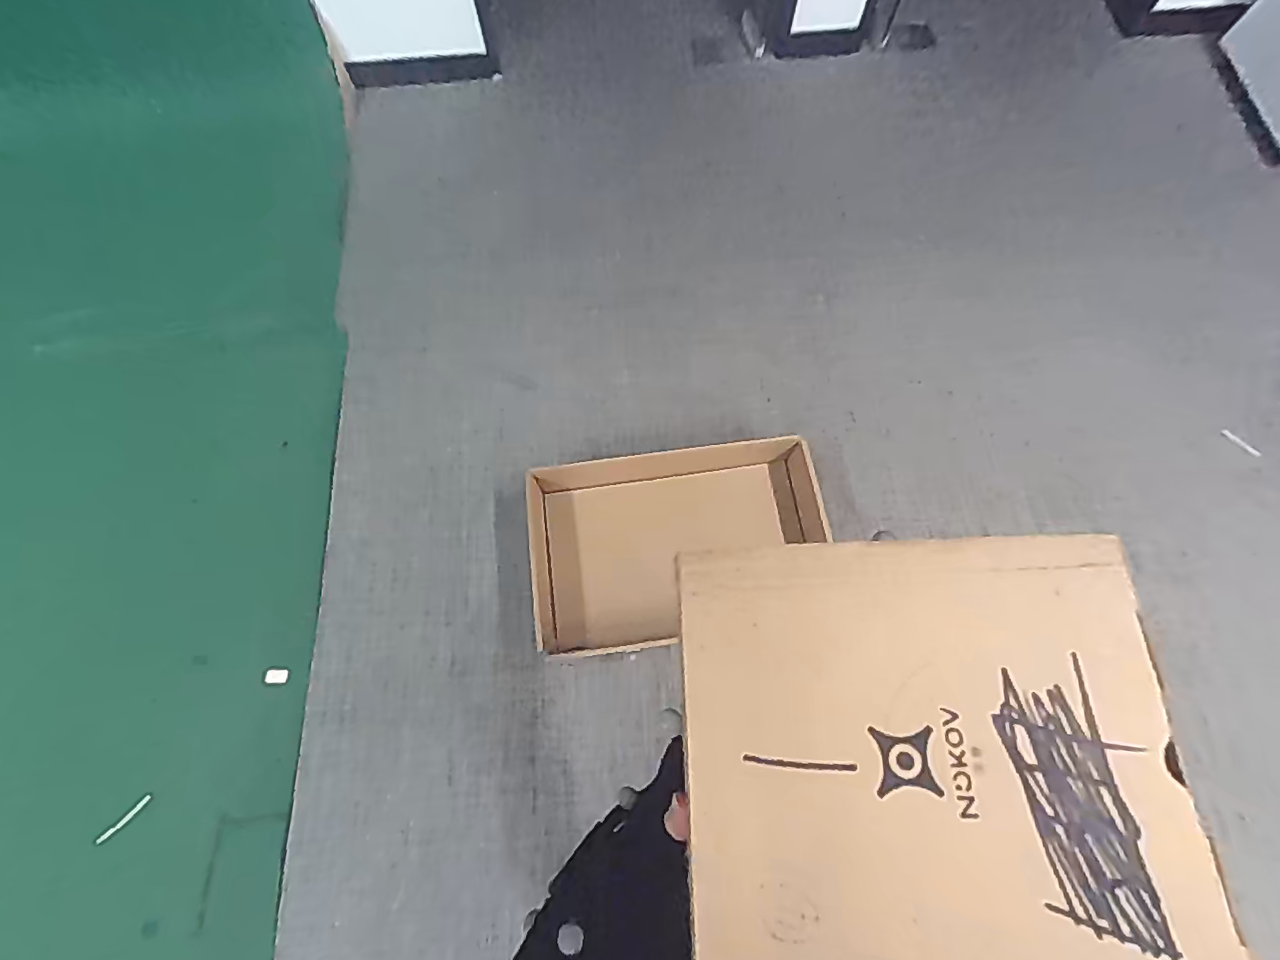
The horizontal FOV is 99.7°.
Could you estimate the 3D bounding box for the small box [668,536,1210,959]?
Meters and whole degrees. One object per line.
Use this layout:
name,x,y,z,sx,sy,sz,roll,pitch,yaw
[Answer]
small box,0.105,0.128,0.276,0.179,0.176,0.168,-2,69,6
